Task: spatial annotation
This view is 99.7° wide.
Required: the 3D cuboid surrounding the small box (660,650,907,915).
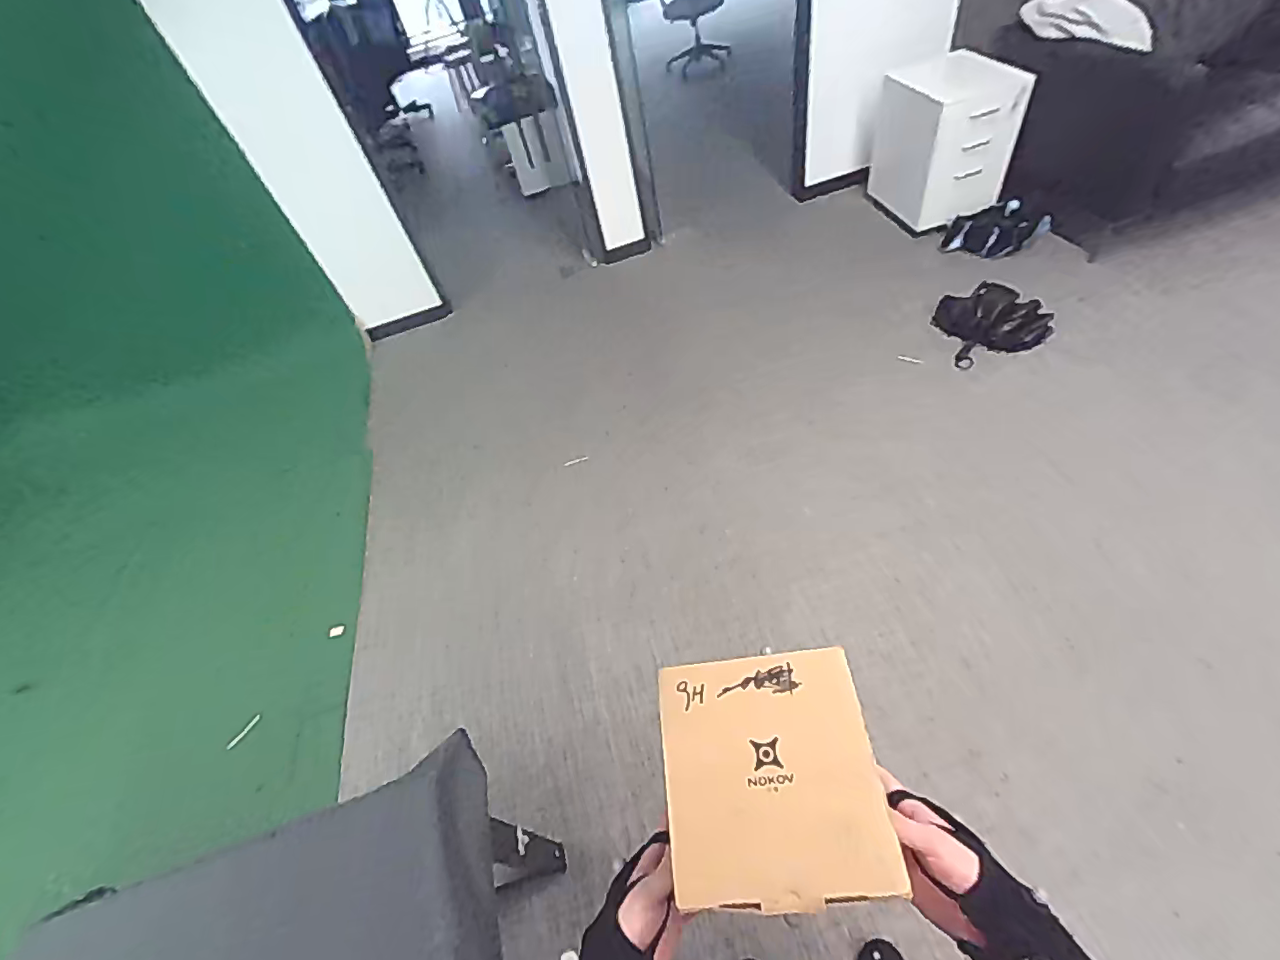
[{"bbox_3d":[0.115,0.271,0.489,0.168,0.176,0.179,-8,54,6],"label":"small box"}]
